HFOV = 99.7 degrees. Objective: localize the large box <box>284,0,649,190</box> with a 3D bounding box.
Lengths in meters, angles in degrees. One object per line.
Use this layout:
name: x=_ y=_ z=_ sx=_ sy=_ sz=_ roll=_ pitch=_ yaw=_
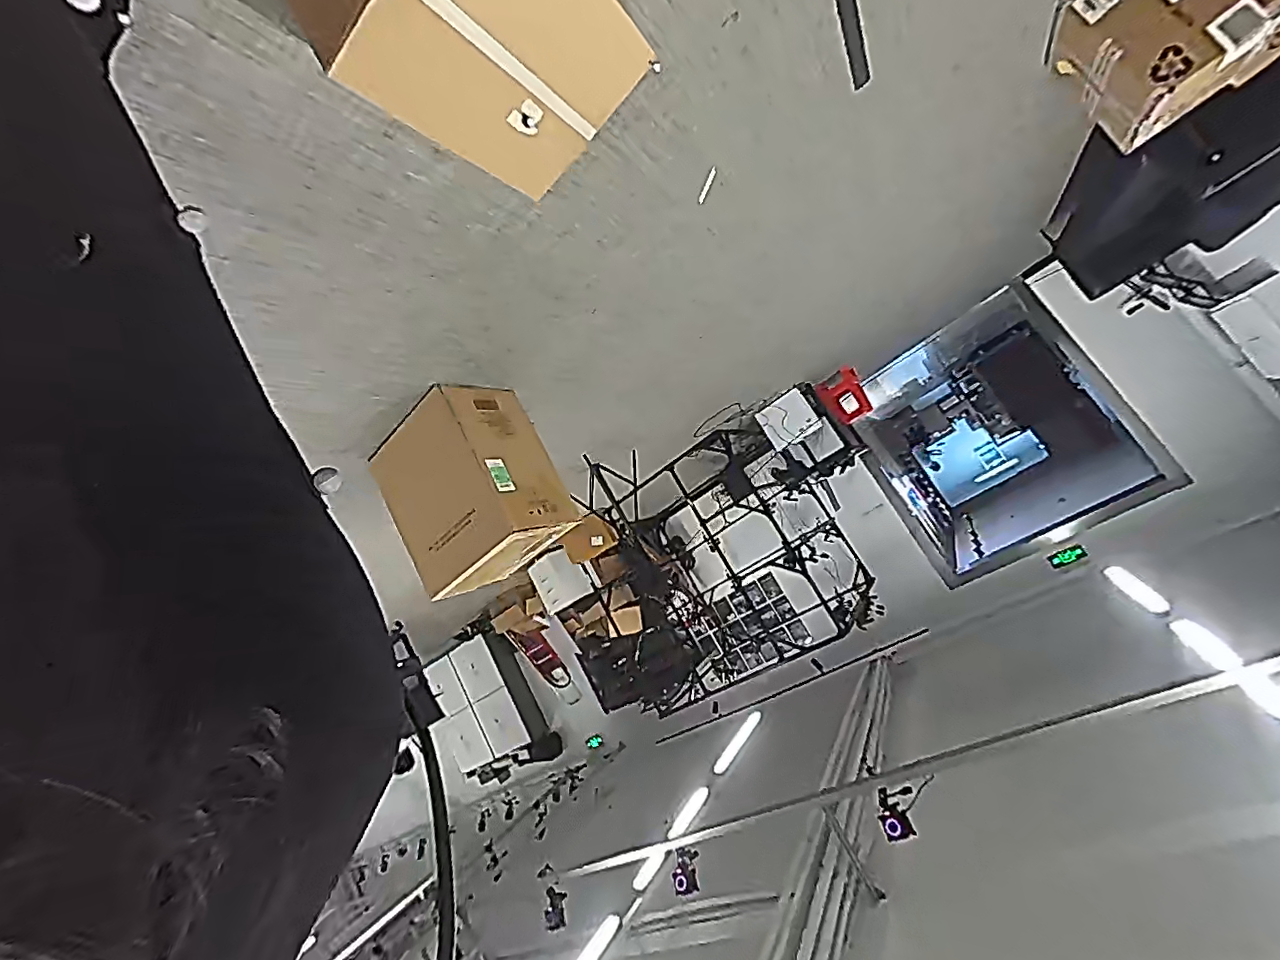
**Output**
large box: x=-0.263 y=-0.724 z=0.790 sx=0.320 sy=0.320 sz=0.408 roll=-35 pitch=168 yaw=26
